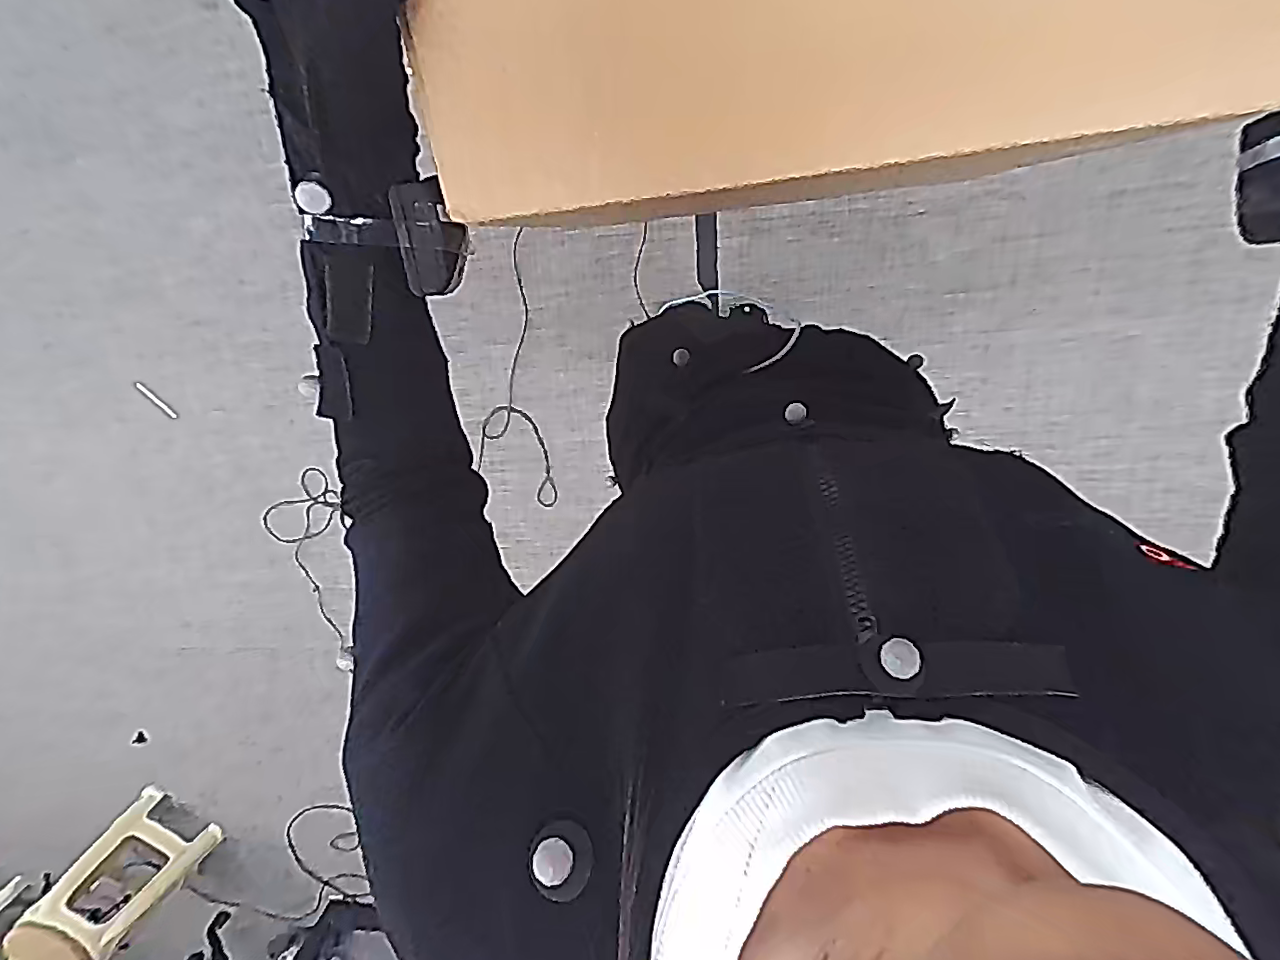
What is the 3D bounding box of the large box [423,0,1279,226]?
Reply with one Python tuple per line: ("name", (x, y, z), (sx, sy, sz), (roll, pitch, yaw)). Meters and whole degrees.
("large box", (0.095, -0.364, 0.349), (0.408, 0.320, 0.320), (-4, 114, 8))
